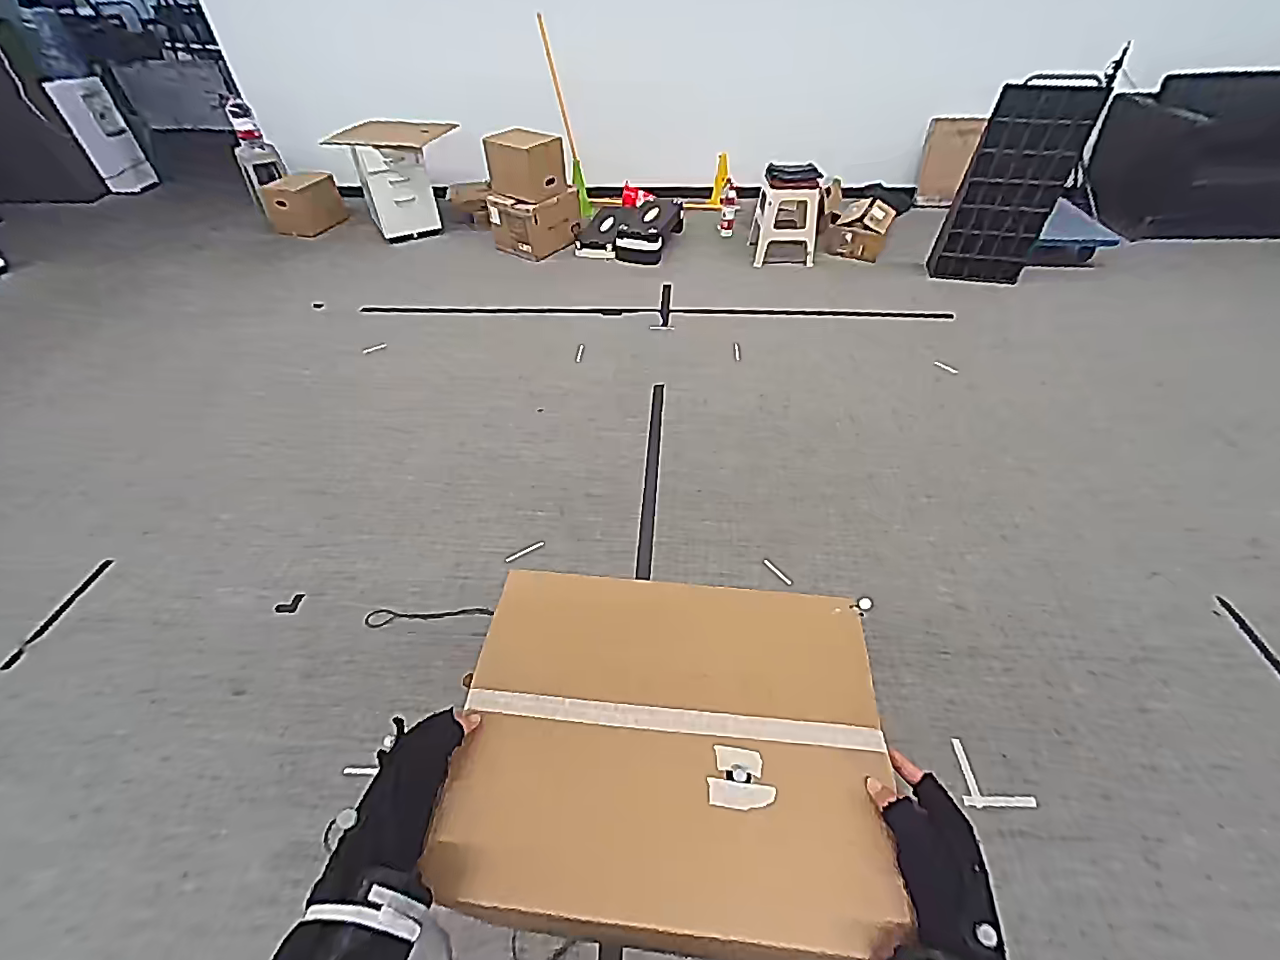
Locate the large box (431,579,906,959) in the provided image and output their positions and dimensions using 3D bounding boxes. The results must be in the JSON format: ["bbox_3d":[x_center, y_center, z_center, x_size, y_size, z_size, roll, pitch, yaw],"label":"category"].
[{"bbox_3d":[0.031,0.345,0.652,0.408,0.320,0.320,4,48,5],"label":"large box"}]
